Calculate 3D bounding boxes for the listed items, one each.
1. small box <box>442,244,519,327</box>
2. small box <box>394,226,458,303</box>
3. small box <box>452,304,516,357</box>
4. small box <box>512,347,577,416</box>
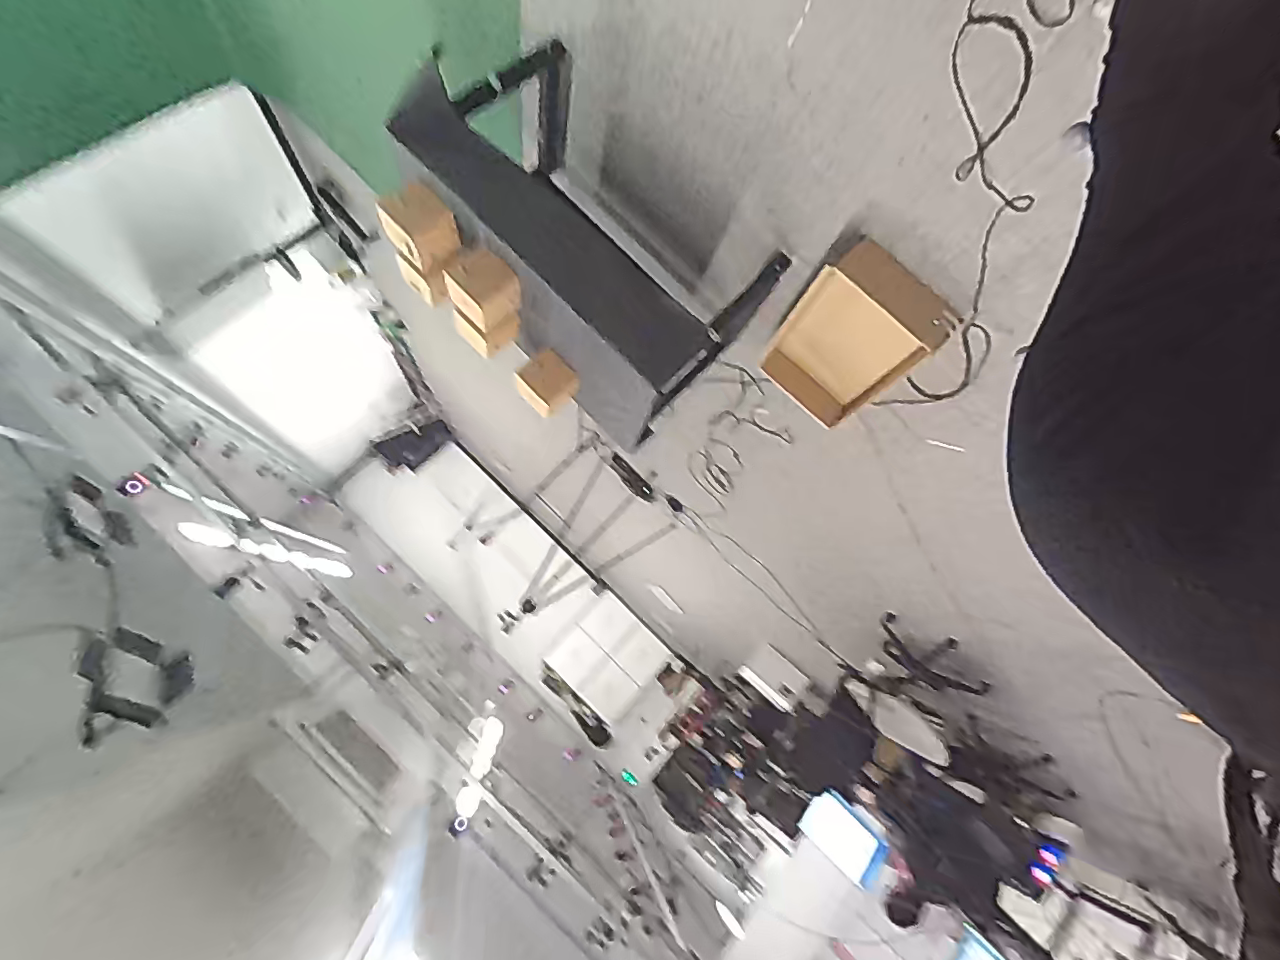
[{"bbox_3d":[-0.529,-0.656,1.806,0.179,0.176,0.168,44,163,0],"label":"small box"},{"bbox_3d":[-0.790,-0.811,2.037,0.168,0.176,0.179,45,161,-2],"label":"small box"},{"bbox_3d":[-0.584,-0.607,2.040,0.168,0.176,0.179,46,162,-2],"label":"small box"},{"bbox_3d":[-0.364,-0.378,2.050,0.179,0.176,0.168,47,162,0],"label":"small box"}]
